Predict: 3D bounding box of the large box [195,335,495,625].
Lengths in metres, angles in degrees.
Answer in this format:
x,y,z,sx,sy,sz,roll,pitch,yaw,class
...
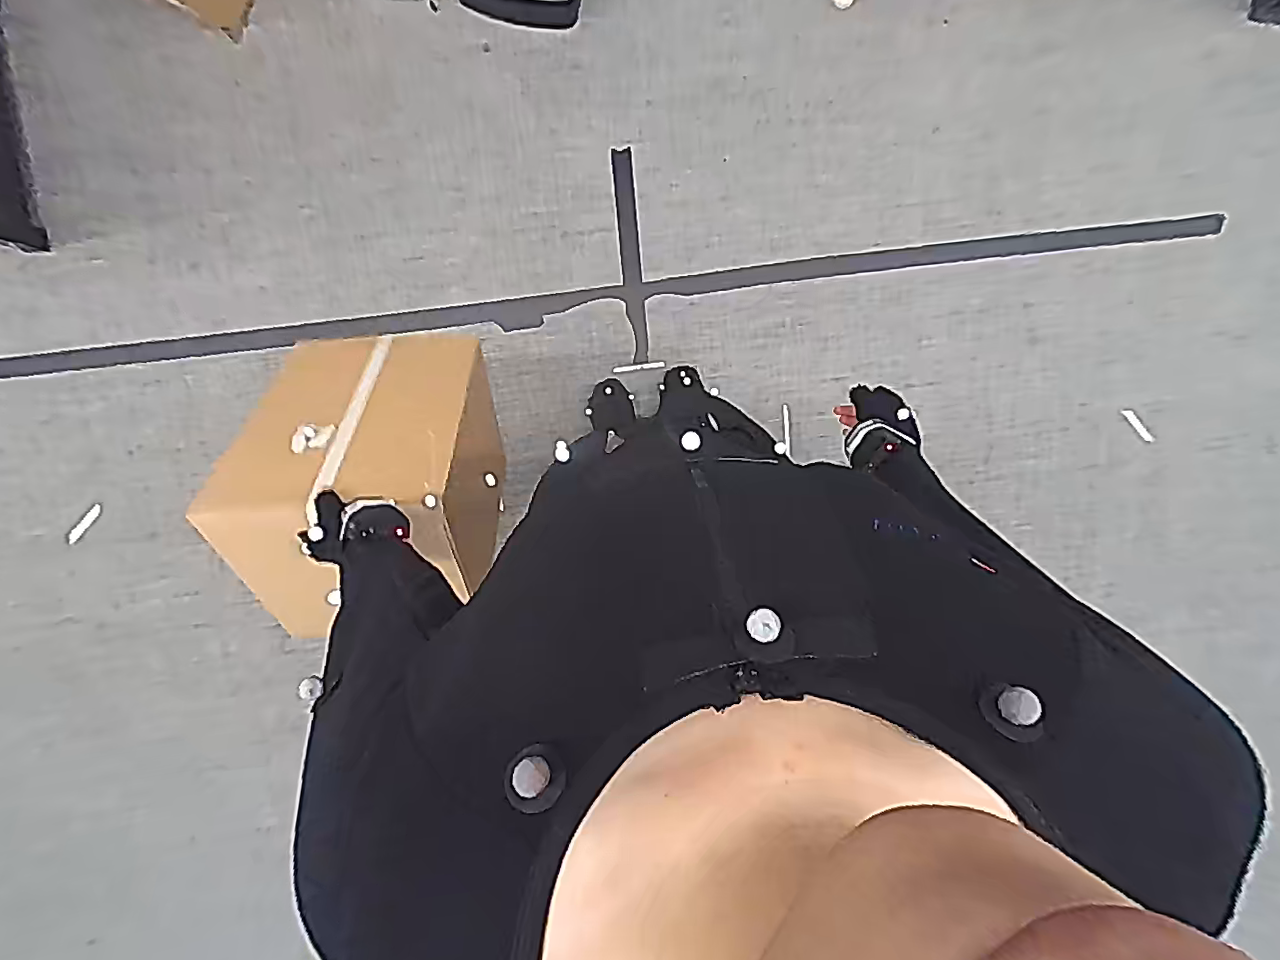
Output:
x,y,z,sx,sy,sz,roll,pitch,yaw,class
-0.442,-0.009,0.940,0.320,0.408,0.320,-4,138,-4,large box
